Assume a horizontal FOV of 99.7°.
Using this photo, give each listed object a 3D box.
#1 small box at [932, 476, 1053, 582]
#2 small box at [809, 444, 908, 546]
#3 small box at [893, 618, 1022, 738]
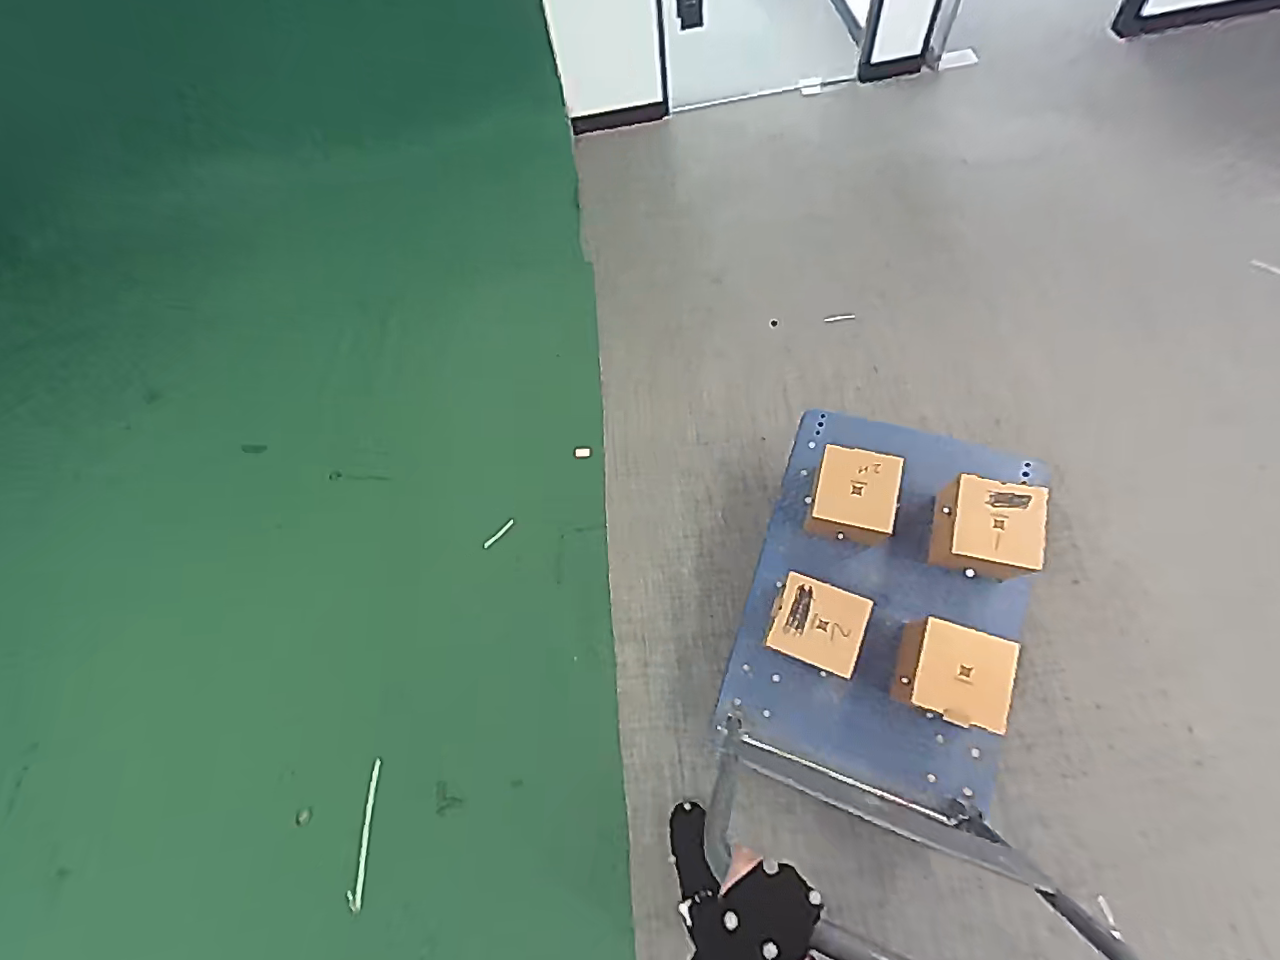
[{"bbox_3d":[0.756,0.111,1.175,0.168,0.176,0.179,12,76,15],"label":"small box"},{"bbox_3d":[0.495,0.041,1.246,0.168,0.176,0.179,14,76,14],"label":"small box"},{"bbox_3d":[0.640,0.398,1.108,0.168,0.176,0.179,17,77,15],"label":"small box"}]
